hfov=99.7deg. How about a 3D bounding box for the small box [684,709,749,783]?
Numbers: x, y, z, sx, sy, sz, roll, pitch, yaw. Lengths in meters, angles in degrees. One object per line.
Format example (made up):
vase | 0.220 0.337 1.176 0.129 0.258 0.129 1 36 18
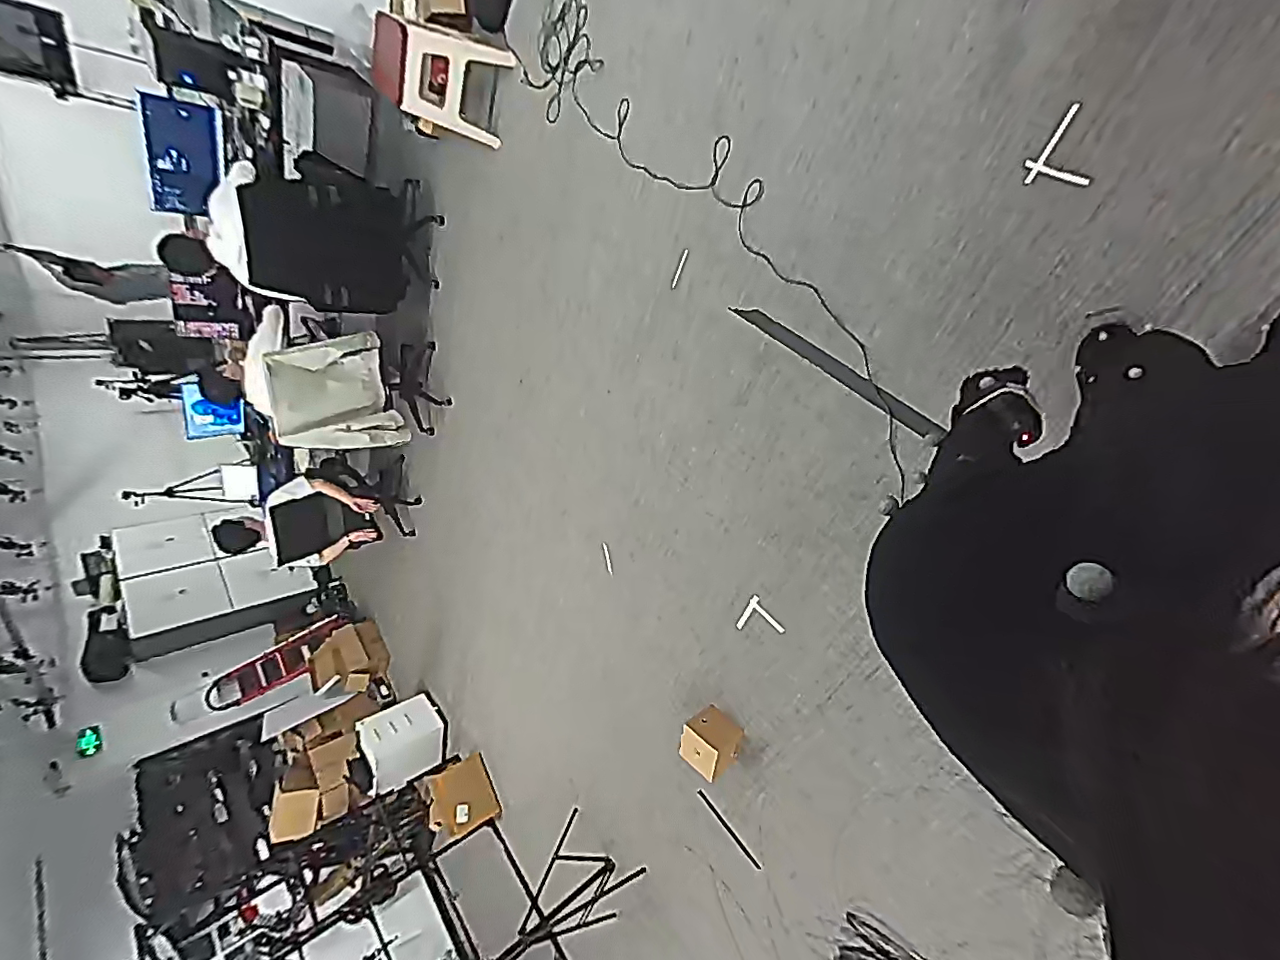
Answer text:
small box | 0.301 1.040 2.139 0.179 0.176 0.168 25 118 40
